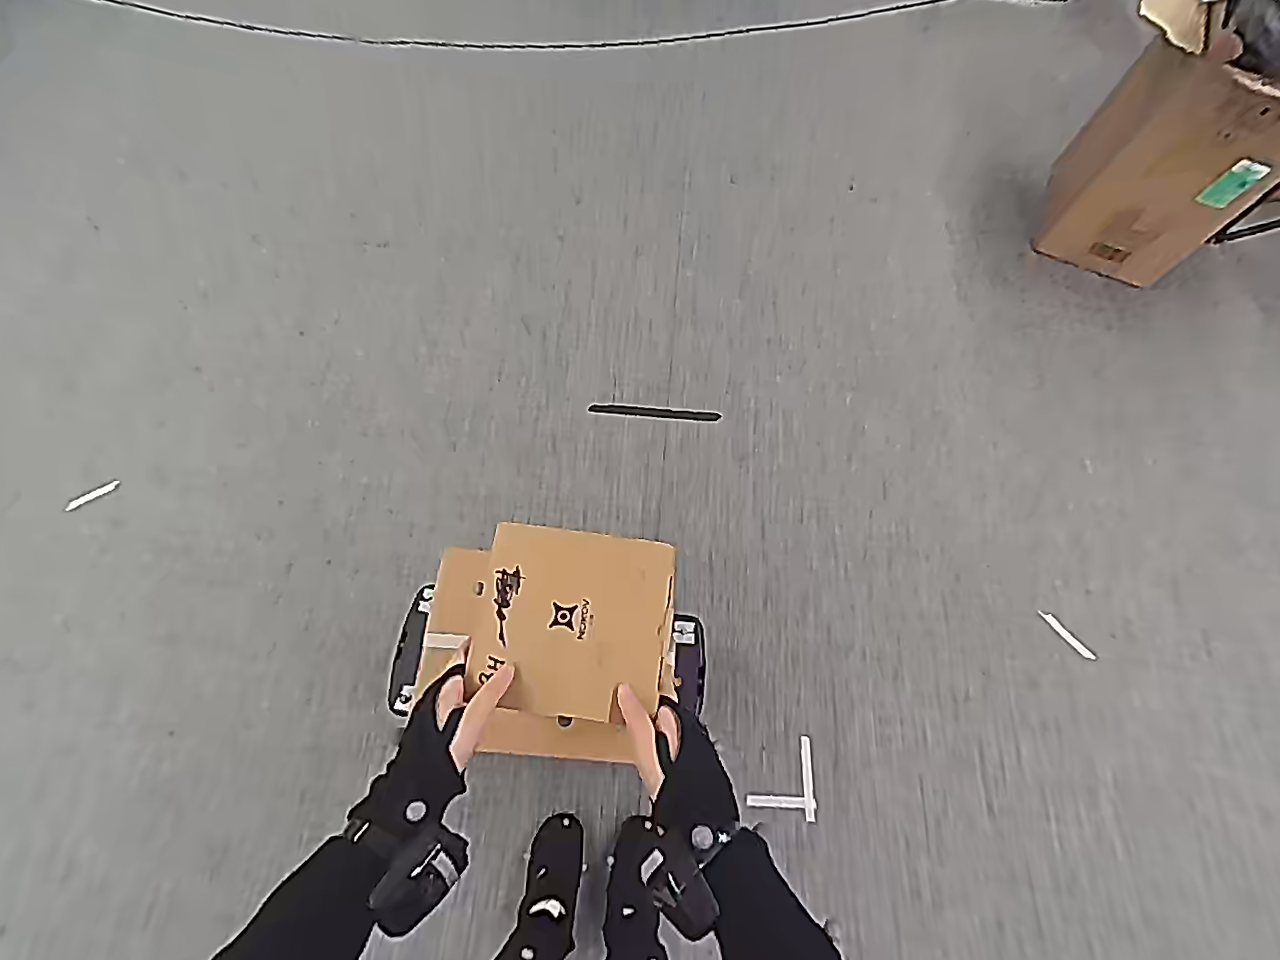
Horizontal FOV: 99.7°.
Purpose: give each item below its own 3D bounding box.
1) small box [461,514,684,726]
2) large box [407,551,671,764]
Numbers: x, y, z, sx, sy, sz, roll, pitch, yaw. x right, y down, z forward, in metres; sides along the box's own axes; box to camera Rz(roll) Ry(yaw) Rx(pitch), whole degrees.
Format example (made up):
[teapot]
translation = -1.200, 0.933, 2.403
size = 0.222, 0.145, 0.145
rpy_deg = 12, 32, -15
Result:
[small box]
translation = -0.061, 0.148, 0.560
size = 0.179, 0.176, 0.168
rpy_deg = 9, 69, 0
[large box]
translation = -0.149, 0.332, 1.013
size = 0.408, 0.320, 0.320
rpy_deg = 4, 66, 1
